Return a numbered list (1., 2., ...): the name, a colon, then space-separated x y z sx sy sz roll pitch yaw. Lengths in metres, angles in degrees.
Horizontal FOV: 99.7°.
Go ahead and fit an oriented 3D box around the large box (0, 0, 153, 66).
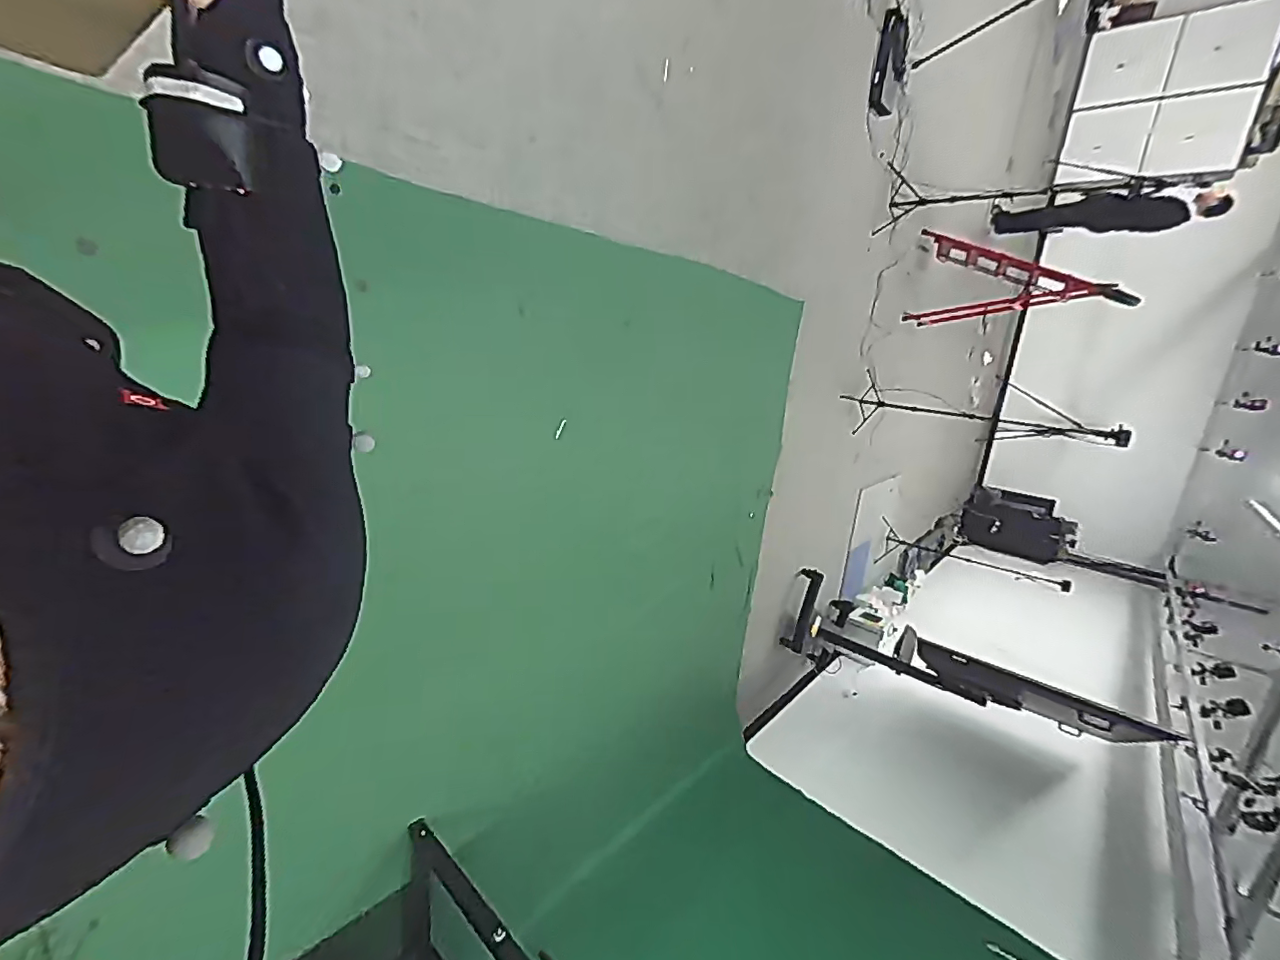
1. large box: -0.507 -0.465 0.231 0.408 0.320 0.320 -10 115 -51
